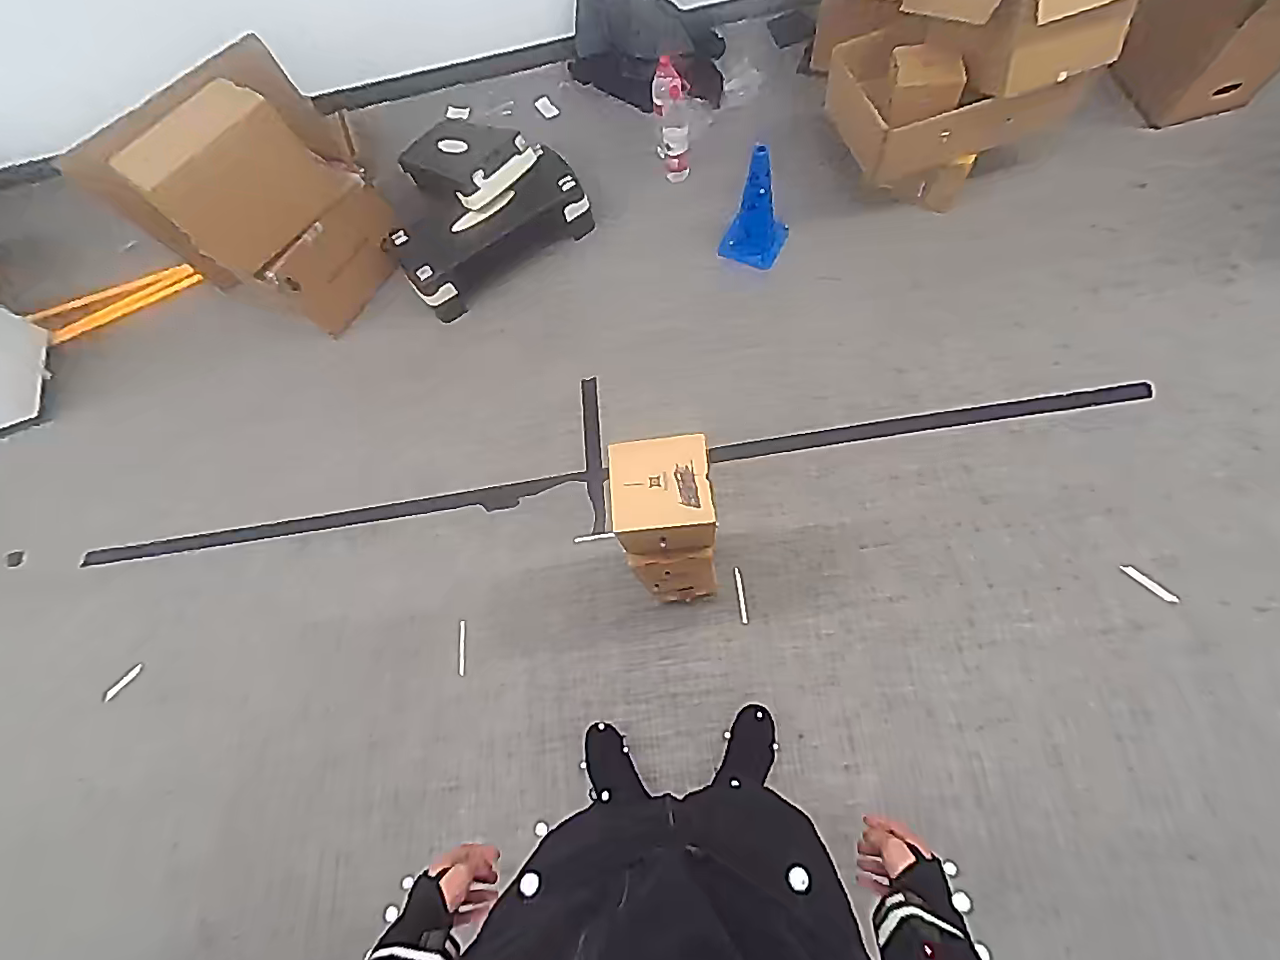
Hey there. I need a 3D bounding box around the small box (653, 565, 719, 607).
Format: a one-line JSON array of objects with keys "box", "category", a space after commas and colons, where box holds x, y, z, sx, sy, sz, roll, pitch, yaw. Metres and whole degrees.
[{"box": [0.114, 0.233, 1.452, 0.168, 0.176, 0.179, -11, 70, 4], "category": "small box"}]

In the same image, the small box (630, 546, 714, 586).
[{"box": [0.064, 0.118, 1.149, 0.168, 0.176, 0.179, -8, 70, 5], "category": "small box"}]

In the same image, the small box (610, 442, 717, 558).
[{"box": [0.046, 0.043, 1.003, 0.179, 0.176, 0.168, -6, 69, 6], "category": "small box"}]
